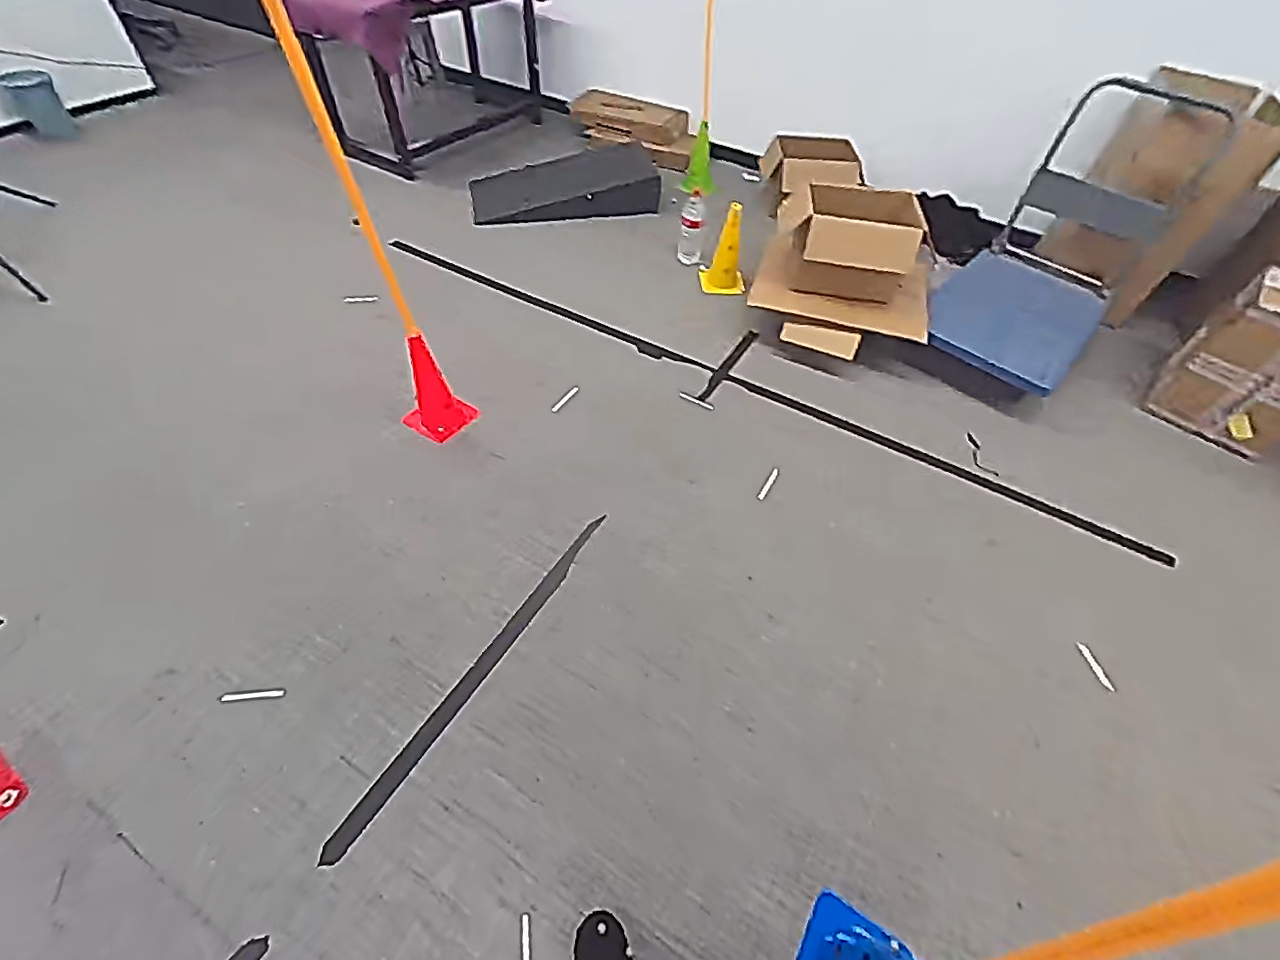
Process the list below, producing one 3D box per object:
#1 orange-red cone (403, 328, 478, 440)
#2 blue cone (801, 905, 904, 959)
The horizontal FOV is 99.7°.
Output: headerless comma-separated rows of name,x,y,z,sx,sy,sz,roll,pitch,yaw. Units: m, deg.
orange-red cone,-0.691,-0.339,1.771,0.198,0.360,0.199,30,55,18
blue cone,0.419,0.866,0.920,0.193,0.380,0.192,30,56,19
